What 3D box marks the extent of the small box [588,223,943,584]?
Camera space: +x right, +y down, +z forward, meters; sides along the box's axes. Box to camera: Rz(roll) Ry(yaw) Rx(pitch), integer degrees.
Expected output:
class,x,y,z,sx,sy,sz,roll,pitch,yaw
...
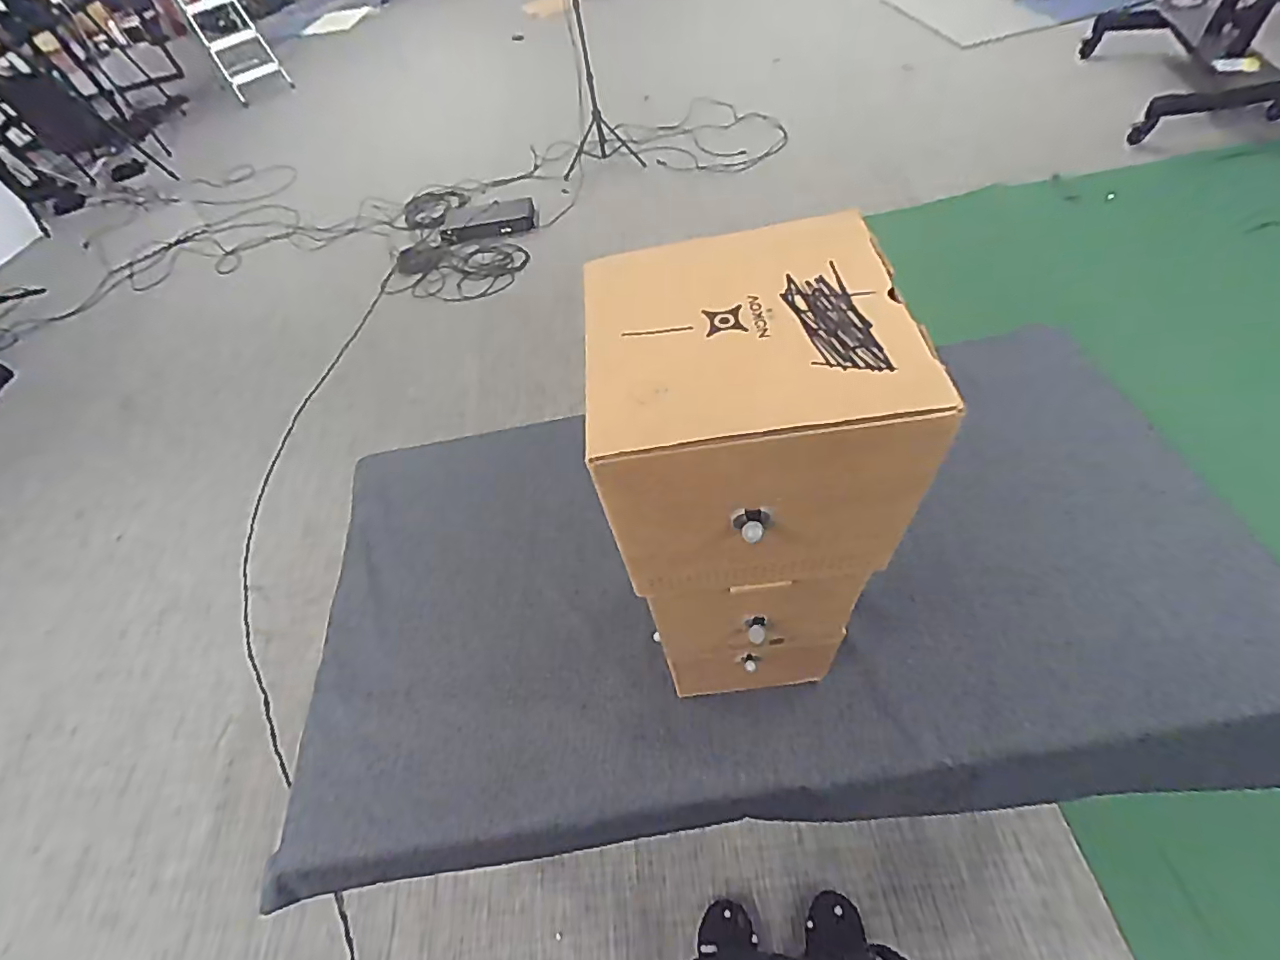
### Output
class,x,y,z,sx,sy,sz,roll,pitch,yaw
small box,0.067,-0.042,0.373,0.179,0.176,0.168,-8,55,5

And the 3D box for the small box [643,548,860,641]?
class,x,y,z,sx,sy,sz,roll,pitch,yaw
small box,0.089,0.043,0.513,0.168,0.176,0.179,-8,55,4

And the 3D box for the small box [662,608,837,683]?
class,x,y,z,sx,sy,sz,roll,pitch,yaw
small box,0.115,0.133,0.648,0.179,0.176,0.168,-8,55,3
